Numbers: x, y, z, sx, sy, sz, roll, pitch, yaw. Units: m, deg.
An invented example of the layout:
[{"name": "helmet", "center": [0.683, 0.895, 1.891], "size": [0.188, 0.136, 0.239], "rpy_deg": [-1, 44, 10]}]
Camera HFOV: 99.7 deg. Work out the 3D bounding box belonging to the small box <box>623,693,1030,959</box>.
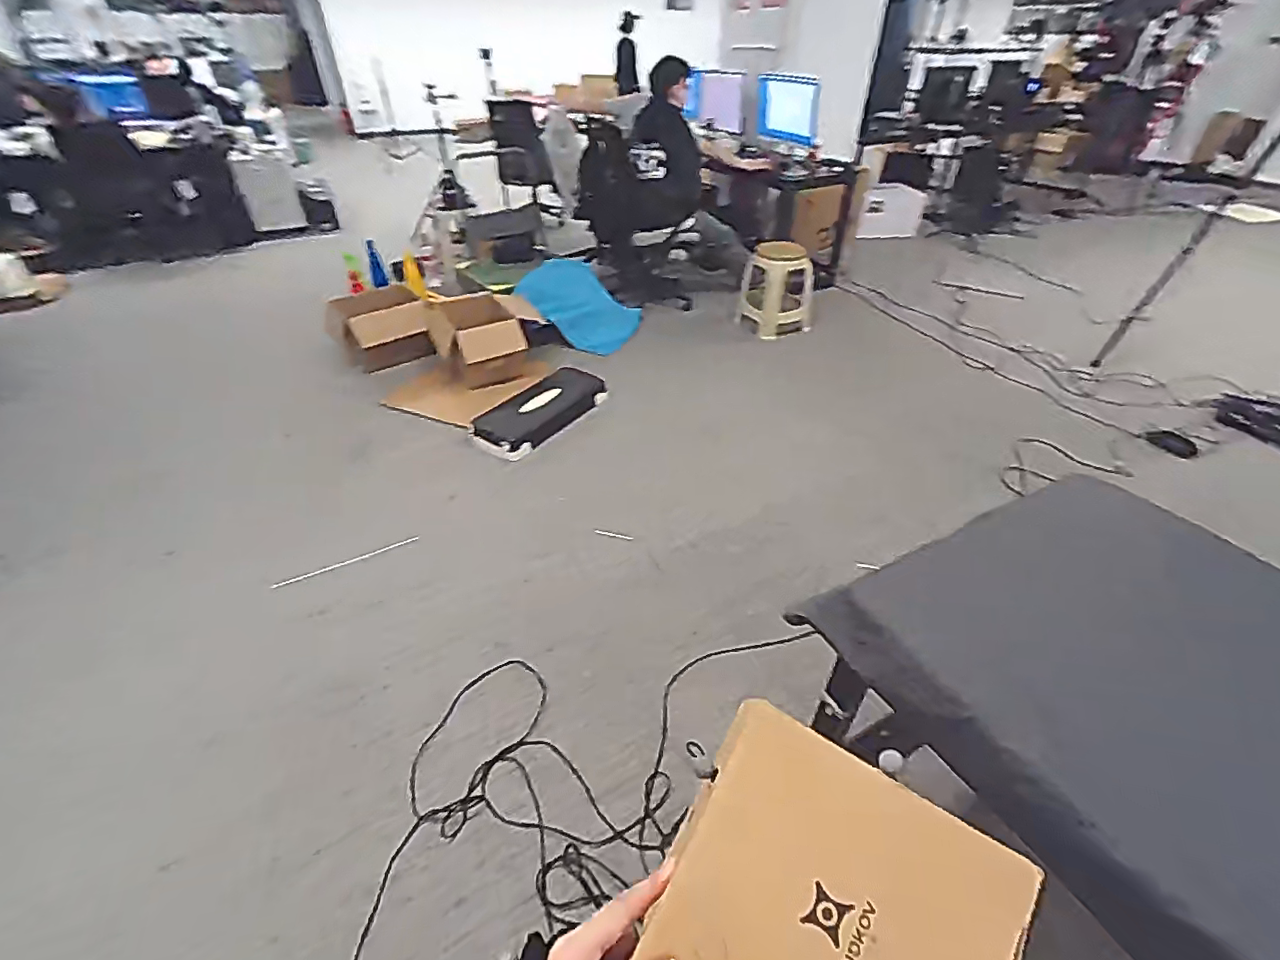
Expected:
[{"name": "small box", "center": [0.111, 0.271, 0.374], "size": [0.179, 0.176, 0.168], "rpy_deg": [27, 73, 15]}]
